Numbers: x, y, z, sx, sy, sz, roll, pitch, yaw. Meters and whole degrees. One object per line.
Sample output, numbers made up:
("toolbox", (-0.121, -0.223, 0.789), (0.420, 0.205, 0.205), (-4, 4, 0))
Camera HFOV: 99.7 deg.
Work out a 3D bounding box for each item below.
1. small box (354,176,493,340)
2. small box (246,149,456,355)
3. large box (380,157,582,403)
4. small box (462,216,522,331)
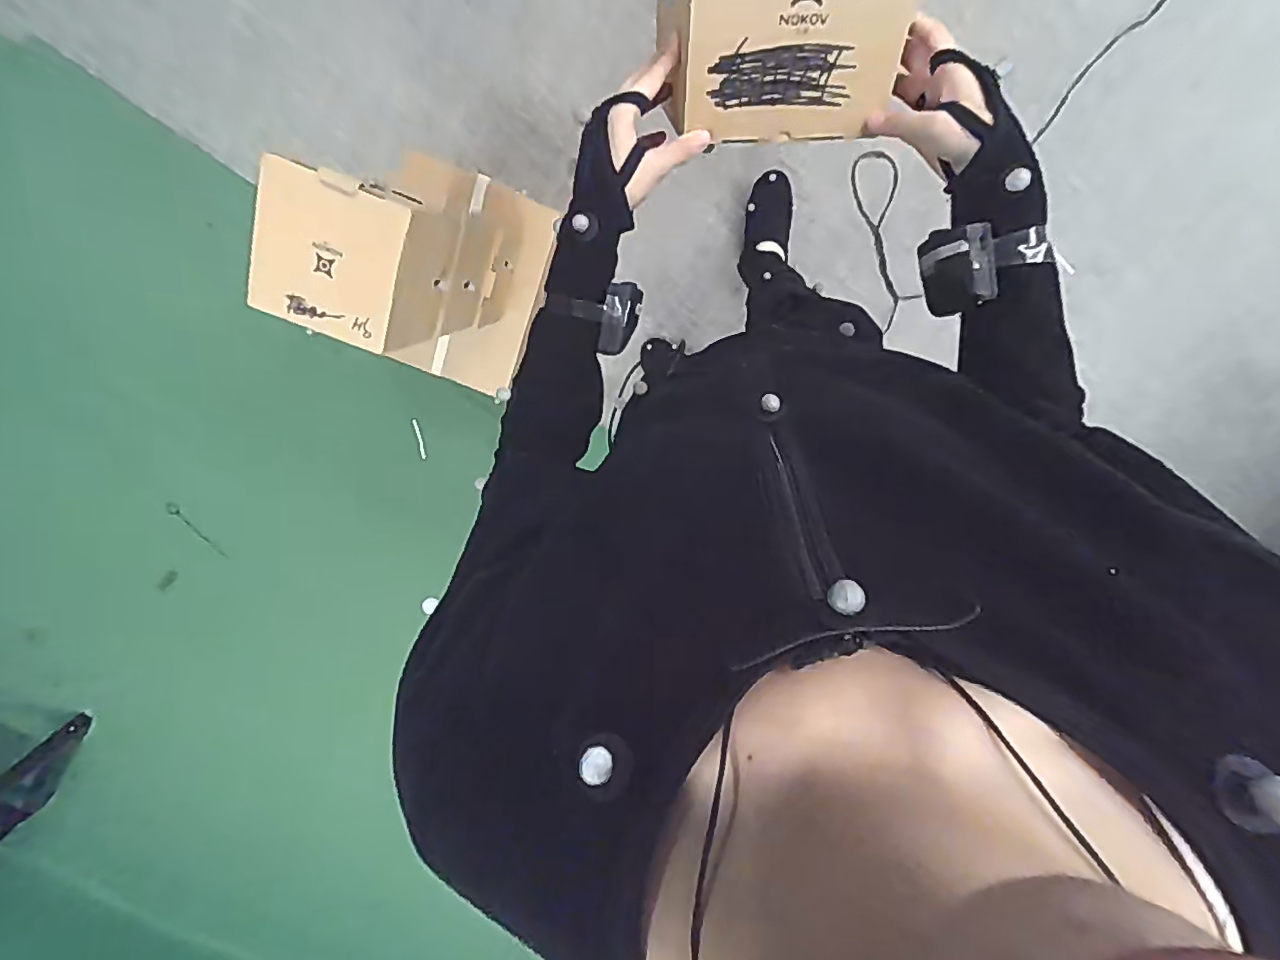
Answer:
("small box", (-0.344, -0.339, 0.845), (0.168, 0.176, 0.179), (20, 110, -5))
("small box", (-0.353, -0.280, 0.692), (0.168, 0.176, 0.179), (21, 109, -5))
("large box", (-0.352, -0.448, 1.240), (0.320, 0.320, 0.408), (21, 111, -4))
("small box", (-0.335, -0.393, 0.999), (0.179, 0.176, 0.168), (21, 110, -5))
